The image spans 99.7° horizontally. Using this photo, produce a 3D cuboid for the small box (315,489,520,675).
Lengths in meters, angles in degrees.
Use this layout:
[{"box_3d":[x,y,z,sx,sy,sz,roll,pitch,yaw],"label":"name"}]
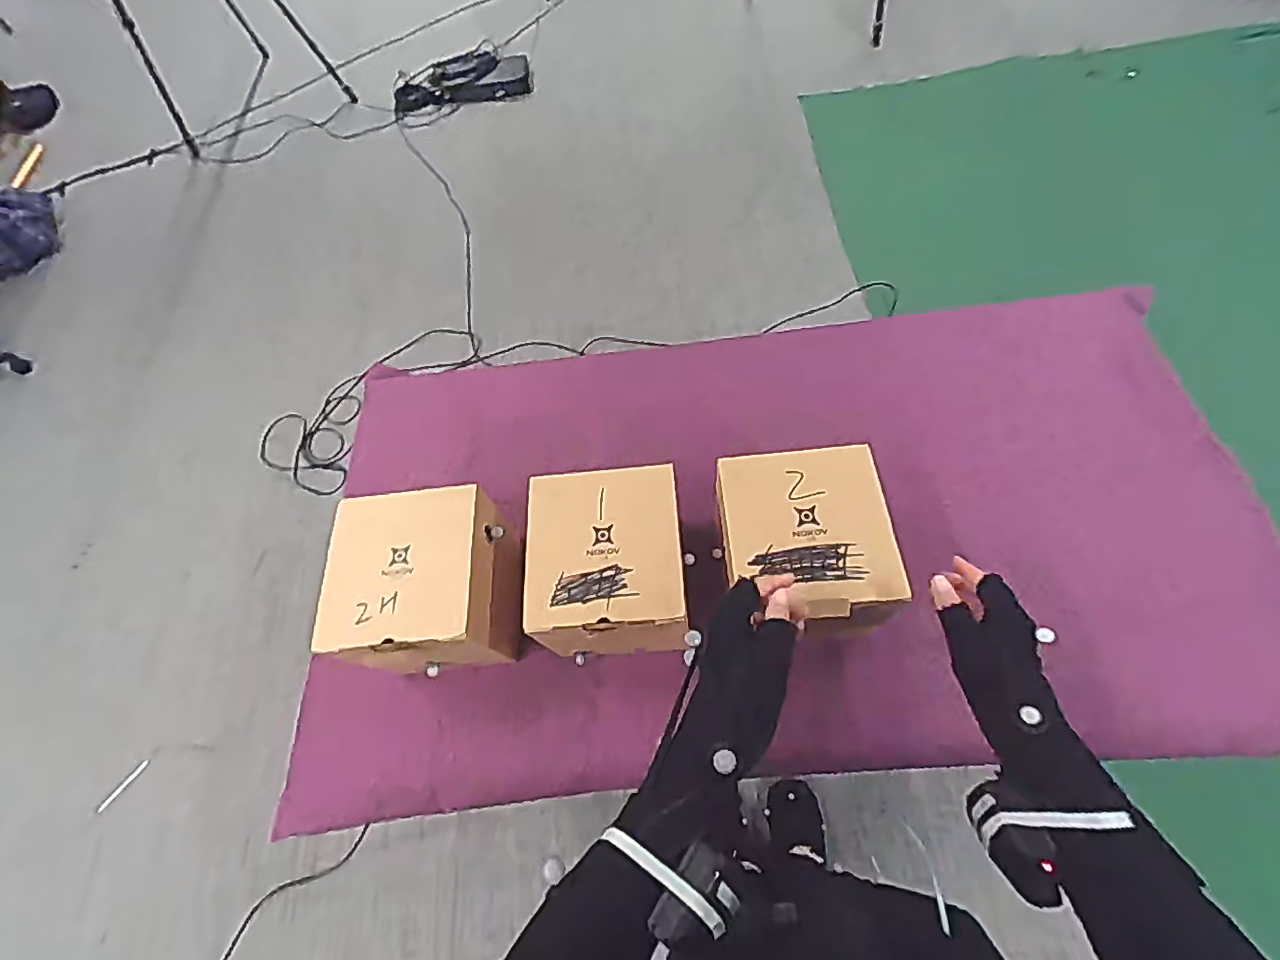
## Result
[{"box_3d":[-0.252,0.131,0.661,0.168,0.176,0.179,-7,63,4],"label":"small box"}]
